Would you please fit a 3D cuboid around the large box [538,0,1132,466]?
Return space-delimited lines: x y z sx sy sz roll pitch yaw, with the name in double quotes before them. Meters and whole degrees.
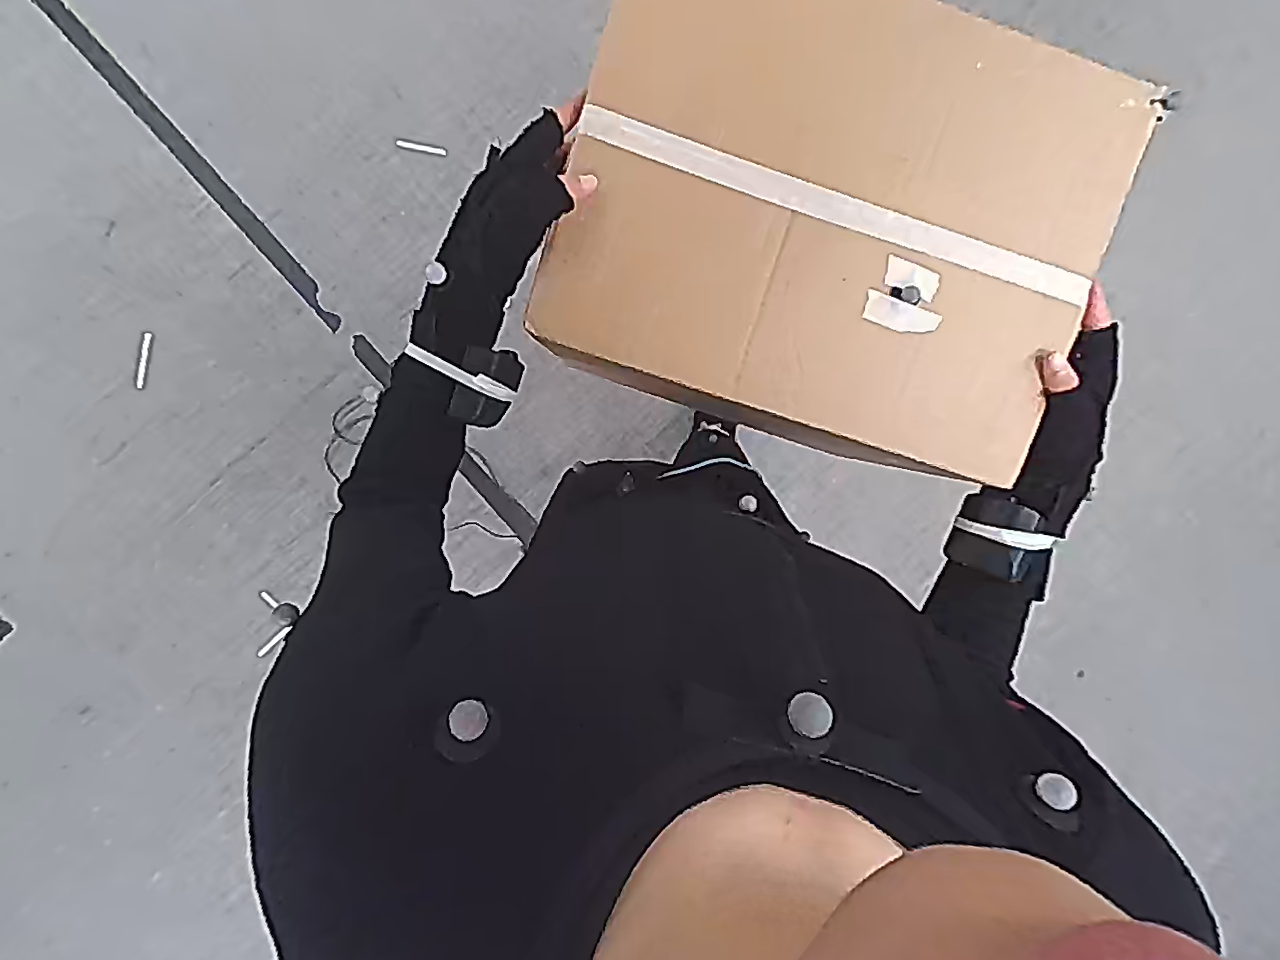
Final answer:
"large box" 0.143 -0.227 0.566 0.408 0.320 0.320 18 97 -5
